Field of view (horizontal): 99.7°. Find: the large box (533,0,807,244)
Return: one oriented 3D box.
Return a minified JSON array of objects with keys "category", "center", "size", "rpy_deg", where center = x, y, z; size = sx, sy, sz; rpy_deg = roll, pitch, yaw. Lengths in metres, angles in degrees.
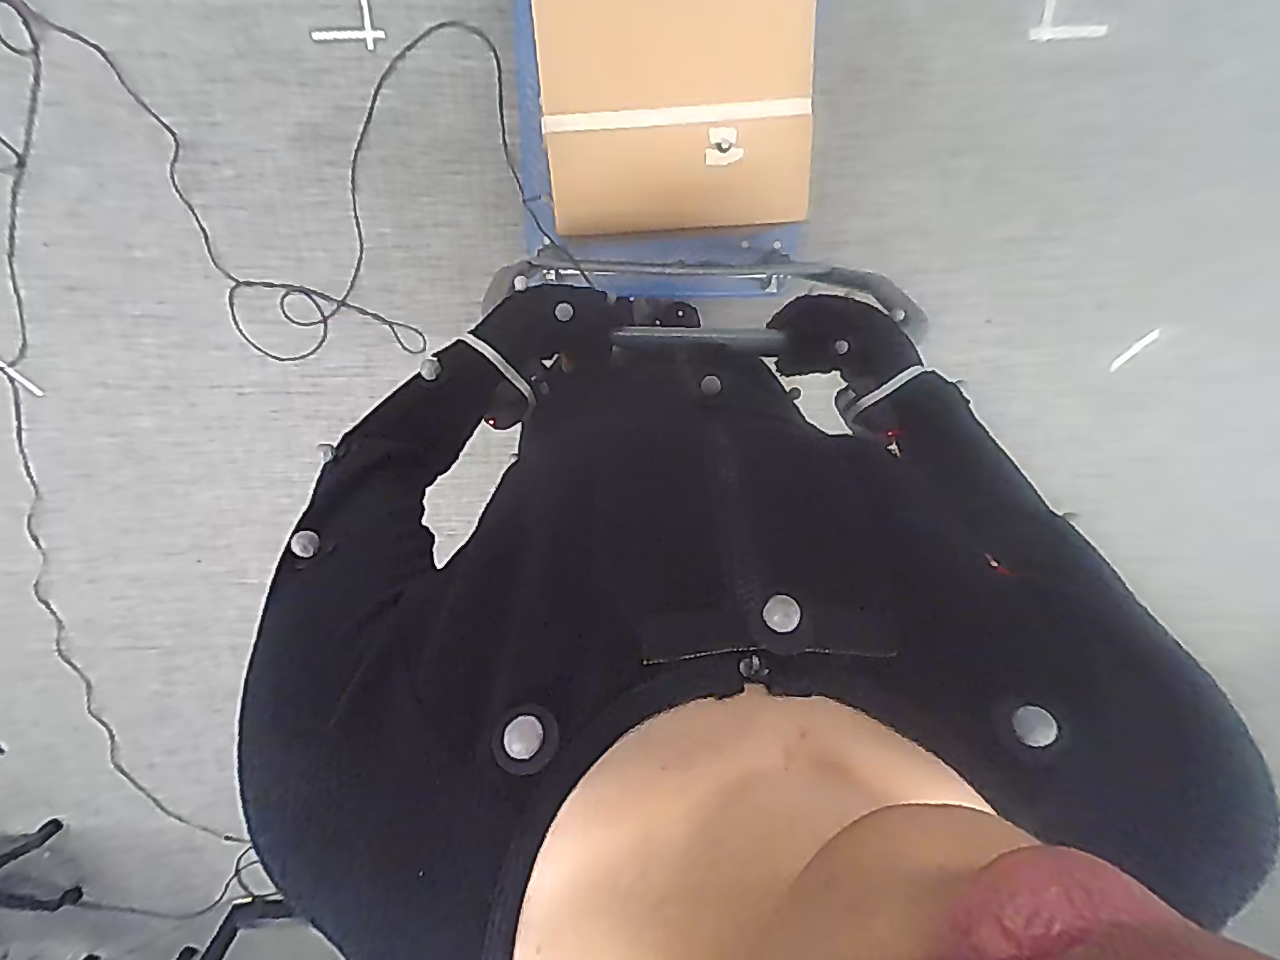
[{"category":"large box","center":[0.046,-0.612,0.966],"size":[0.408,0.320,0.320],"rpy_deg":[-5,112,-2]}]
